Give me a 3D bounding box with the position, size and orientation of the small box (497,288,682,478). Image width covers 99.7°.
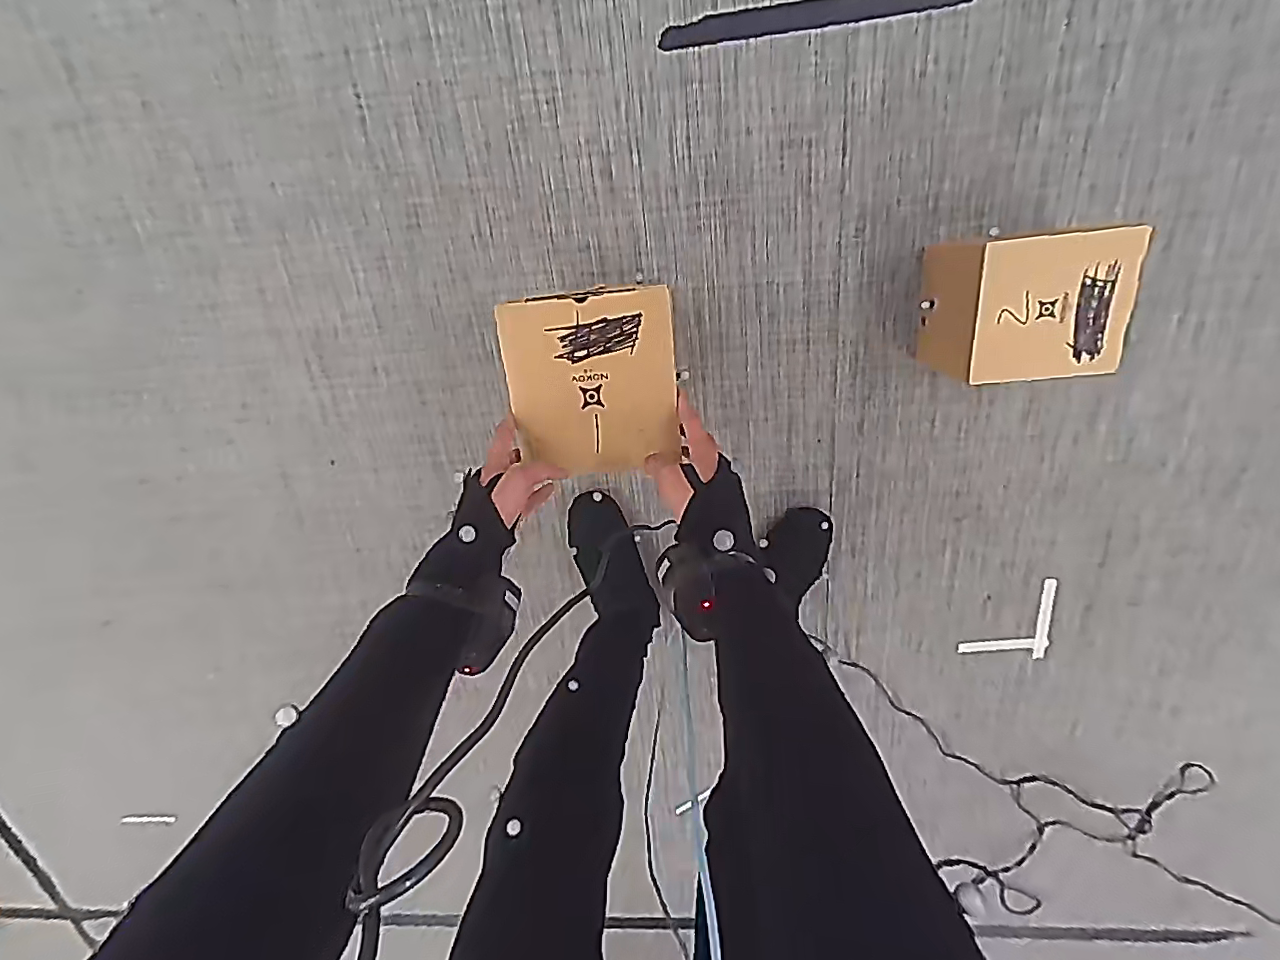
[{"bbox_3d":[-0.043,-0.115,0.598,0.168,0.176,0.179,-4,111,4],"label":"small box"}]
